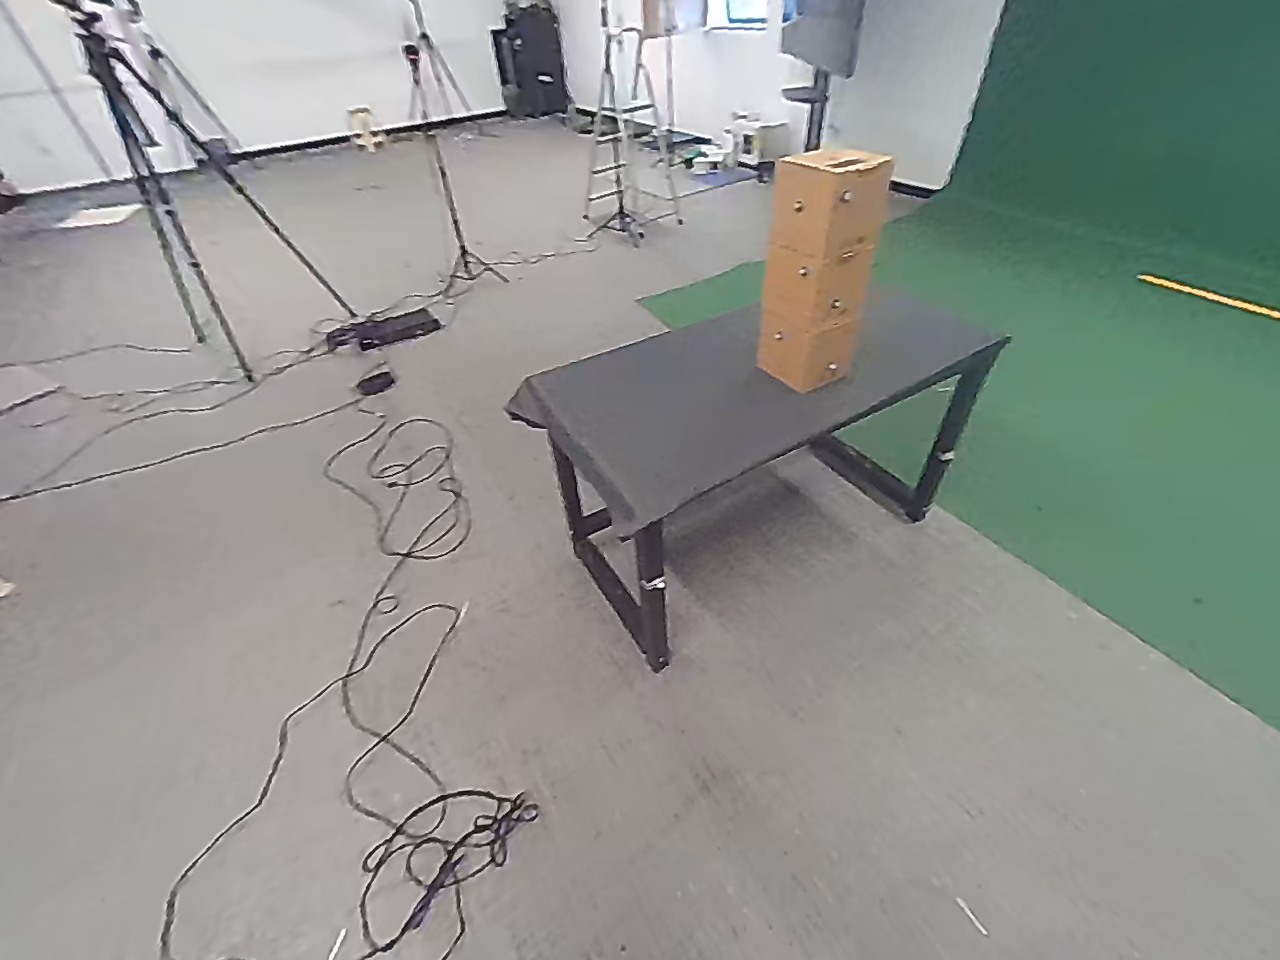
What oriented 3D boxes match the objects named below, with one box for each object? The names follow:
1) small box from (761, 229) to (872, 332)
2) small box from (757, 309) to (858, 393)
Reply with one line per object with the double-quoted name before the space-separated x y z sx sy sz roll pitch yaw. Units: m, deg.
"small box" 0.408 -0.472 1.280 0.168 0.176 0.179 -23 46 -21
"small box" 0.419 -0.349 1.385 0.168 0.176 0.179 -24 46 -20
